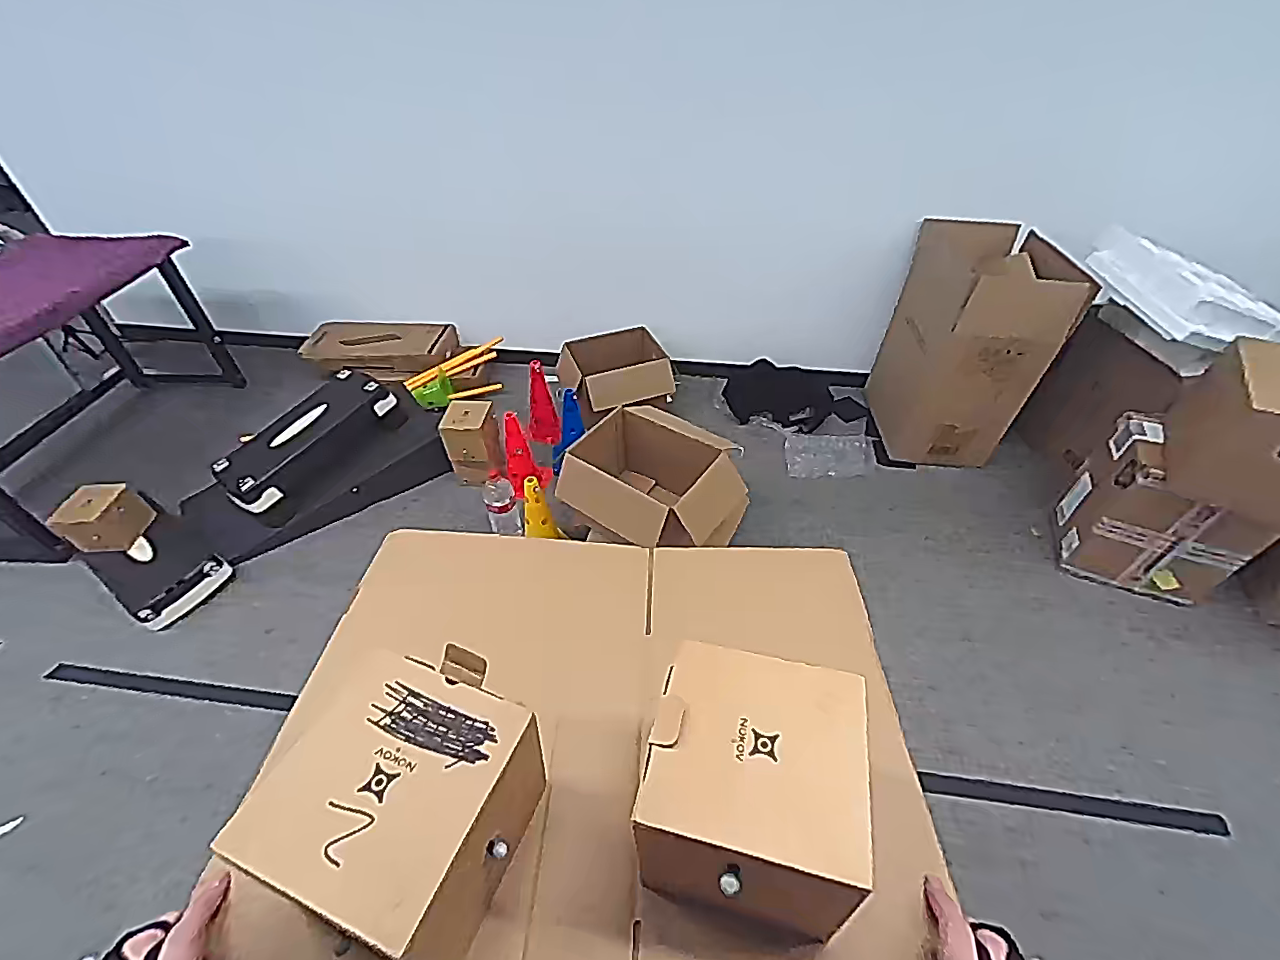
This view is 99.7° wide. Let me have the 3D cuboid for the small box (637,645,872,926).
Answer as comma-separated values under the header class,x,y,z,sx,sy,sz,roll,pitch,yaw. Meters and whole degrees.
class,x,y,z,sx,sy,sz,roll,pitch,yaw
small box,0.107,0.286,0.510,0.179,0.176,0.168,7,42,14
